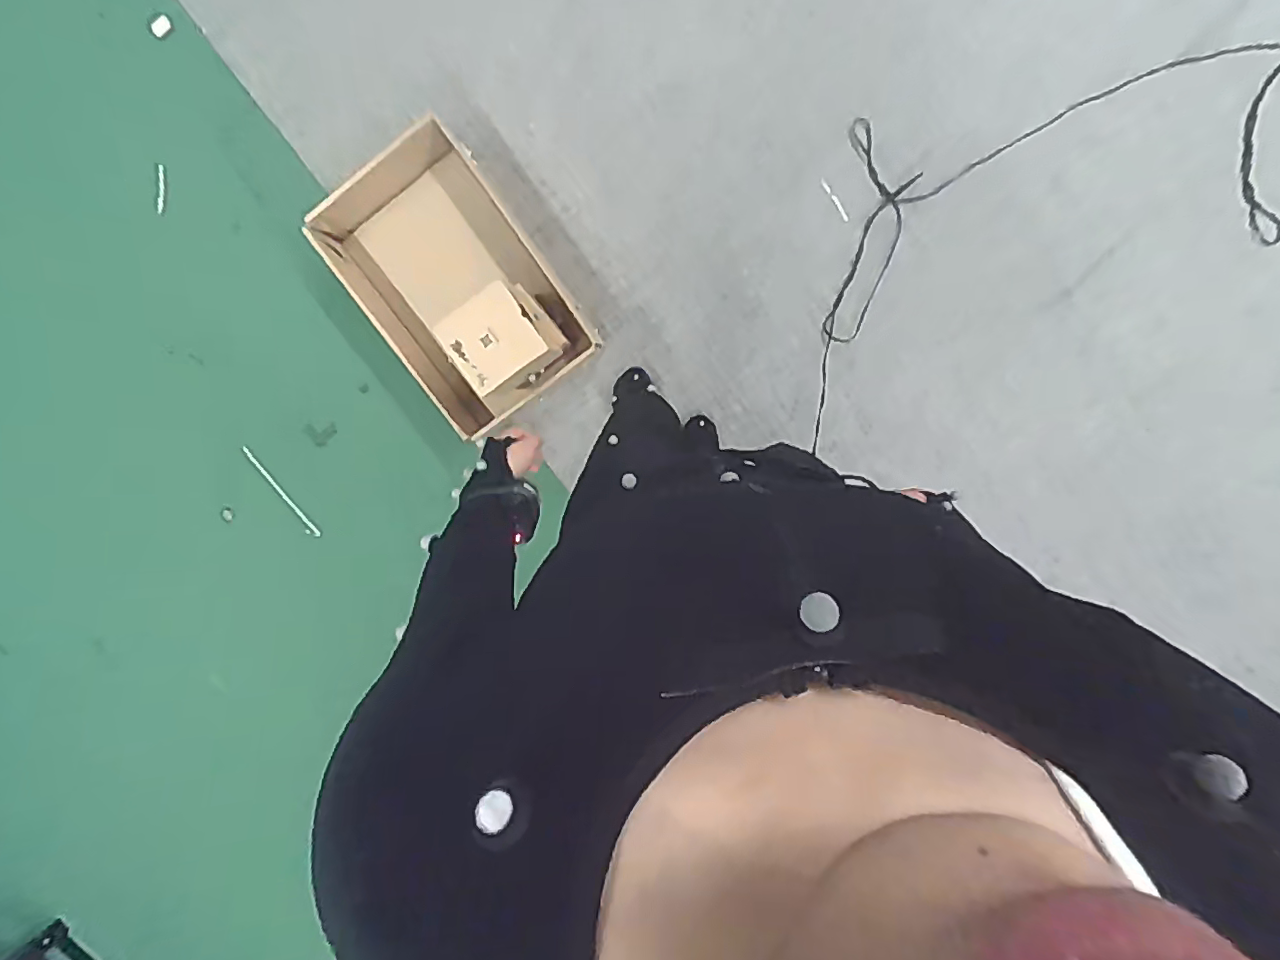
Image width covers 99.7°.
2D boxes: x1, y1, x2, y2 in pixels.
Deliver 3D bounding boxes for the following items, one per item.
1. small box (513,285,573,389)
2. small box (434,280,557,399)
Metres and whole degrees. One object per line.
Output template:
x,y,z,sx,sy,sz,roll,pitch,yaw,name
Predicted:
-0.281,-0.331,1.294,0.179,0.176,0.168,-39,97,6,small box
-0.289,-0.288,1.135,0.179,0.176,0.168,-34,98,6,small box
